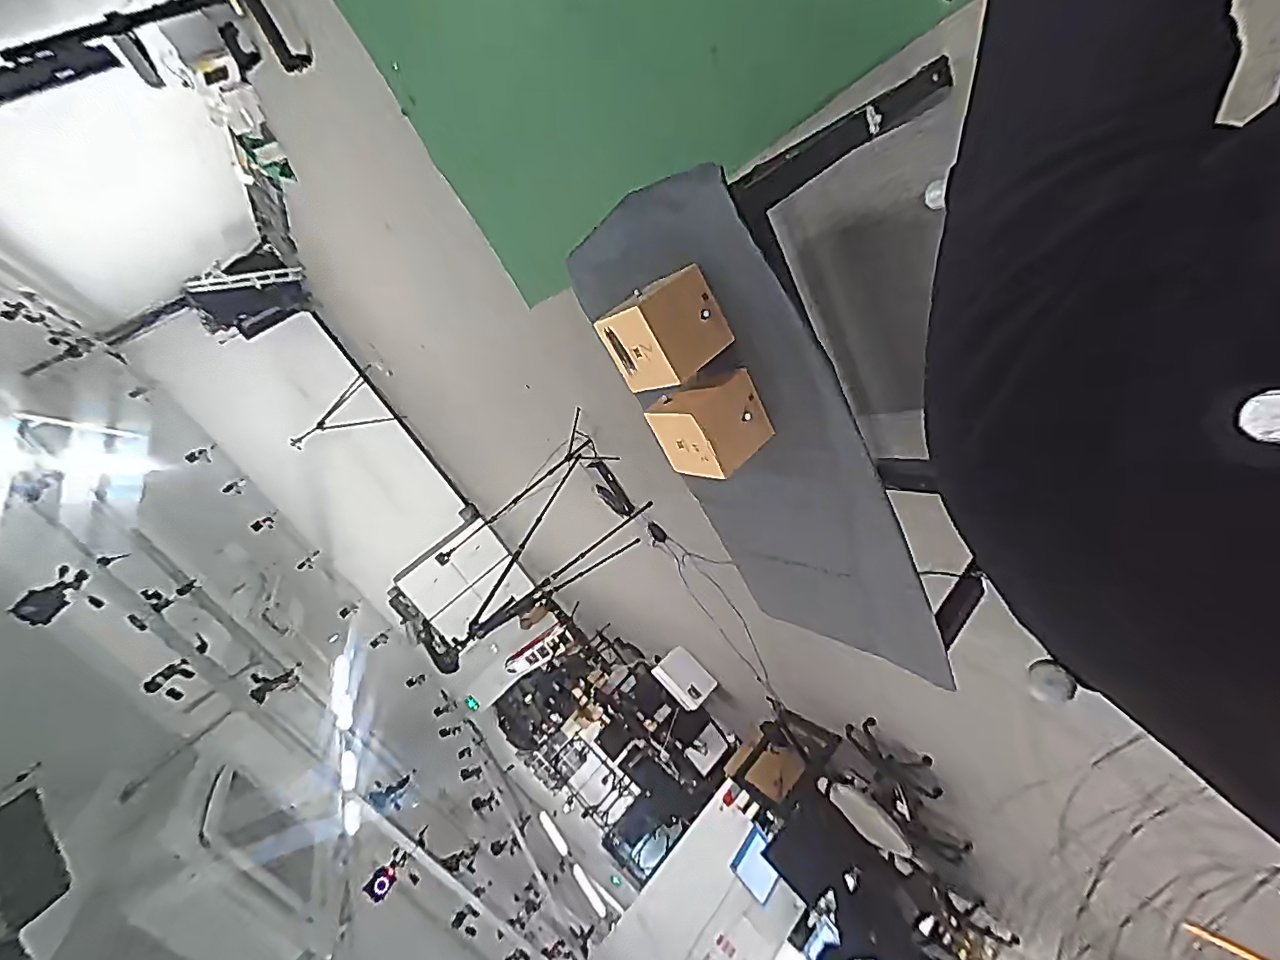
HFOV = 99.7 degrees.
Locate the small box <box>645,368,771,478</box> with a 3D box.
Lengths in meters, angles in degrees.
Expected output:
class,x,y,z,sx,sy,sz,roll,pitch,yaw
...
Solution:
class,x,y,z,sx,sy,sz,roll,pitch,yaw
small box,0.150,-0.128,1.174,0.179,0.176,0.168,11,137,55
